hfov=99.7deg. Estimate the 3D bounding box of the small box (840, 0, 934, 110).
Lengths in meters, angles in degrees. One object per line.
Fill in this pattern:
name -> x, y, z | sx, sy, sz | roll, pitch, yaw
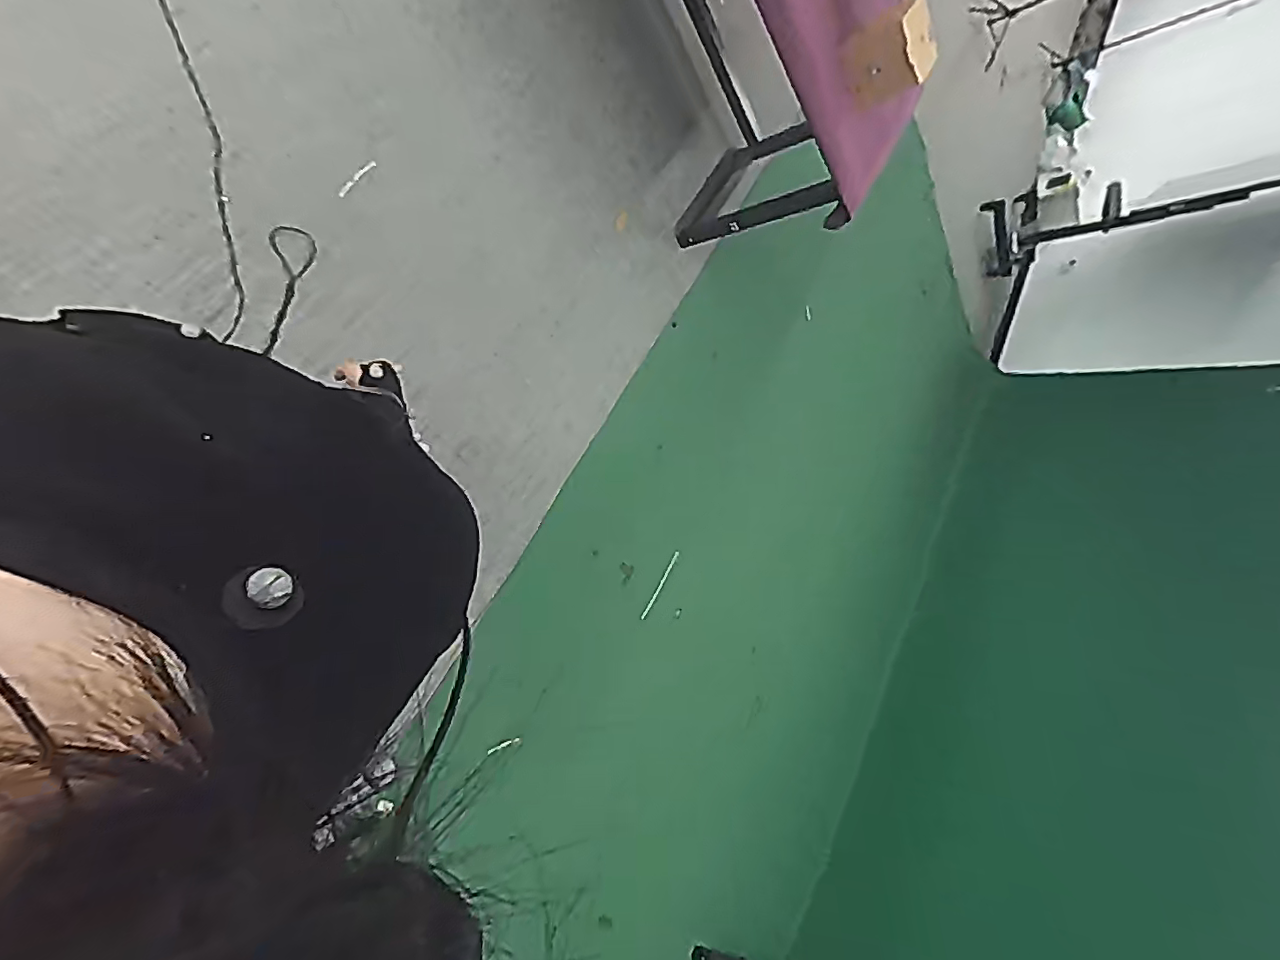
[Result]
small box -> 0.664, -1.151, 1.463 | 0.179, 0.176, 0.168 | -56, 128, -22
